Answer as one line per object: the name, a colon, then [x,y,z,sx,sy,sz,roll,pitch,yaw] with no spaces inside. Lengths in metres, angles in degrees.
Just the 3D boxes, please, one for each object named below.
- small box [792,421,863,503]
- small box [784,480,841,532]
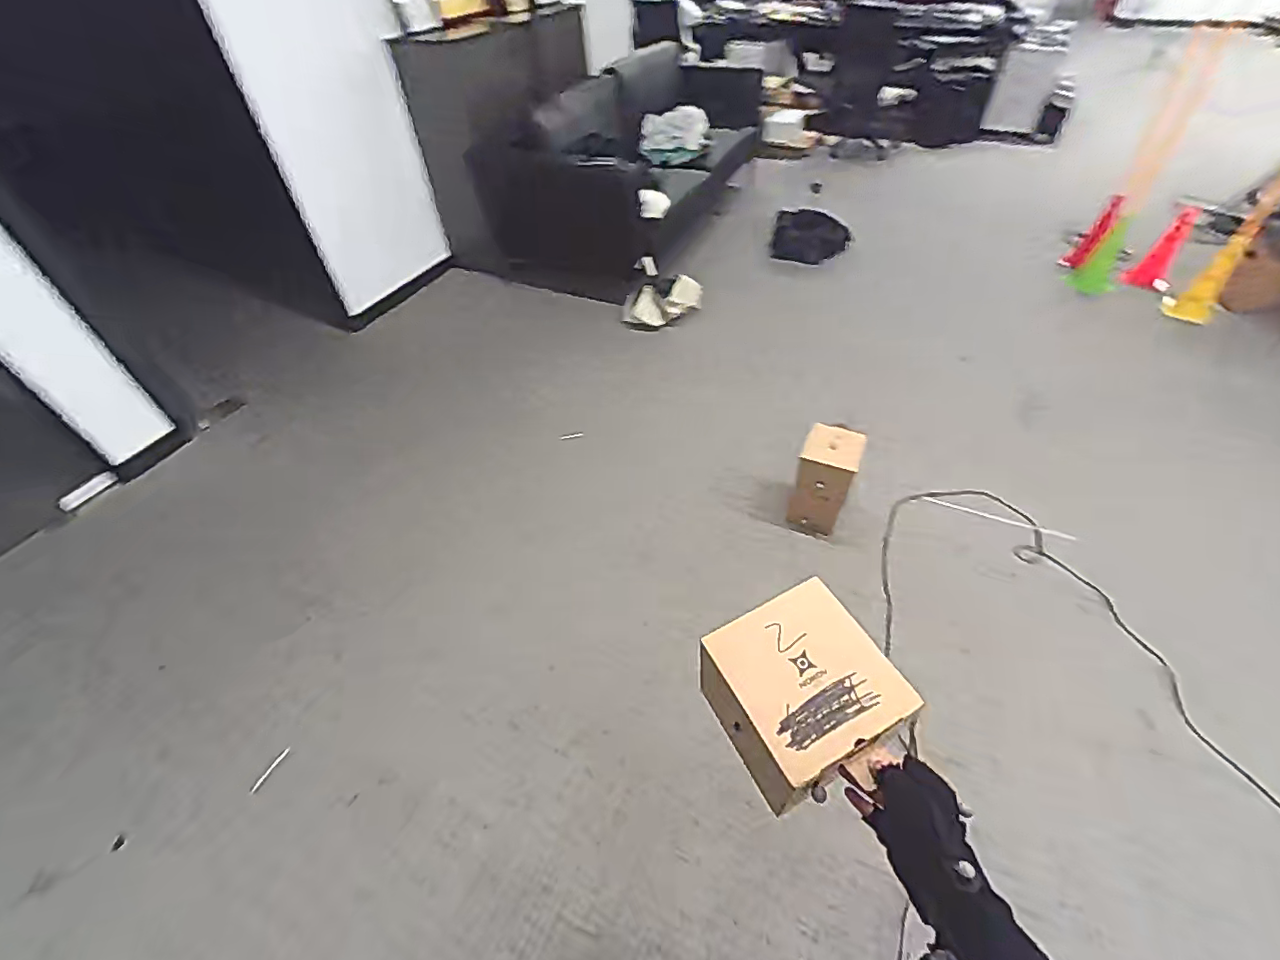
small box: [0.587,-0.054,1.707,0.168,0.176,0.179,18,50,20]
small box: [0.601,0.044,1.840,0.168,0.176,0.179,20,52,22]
